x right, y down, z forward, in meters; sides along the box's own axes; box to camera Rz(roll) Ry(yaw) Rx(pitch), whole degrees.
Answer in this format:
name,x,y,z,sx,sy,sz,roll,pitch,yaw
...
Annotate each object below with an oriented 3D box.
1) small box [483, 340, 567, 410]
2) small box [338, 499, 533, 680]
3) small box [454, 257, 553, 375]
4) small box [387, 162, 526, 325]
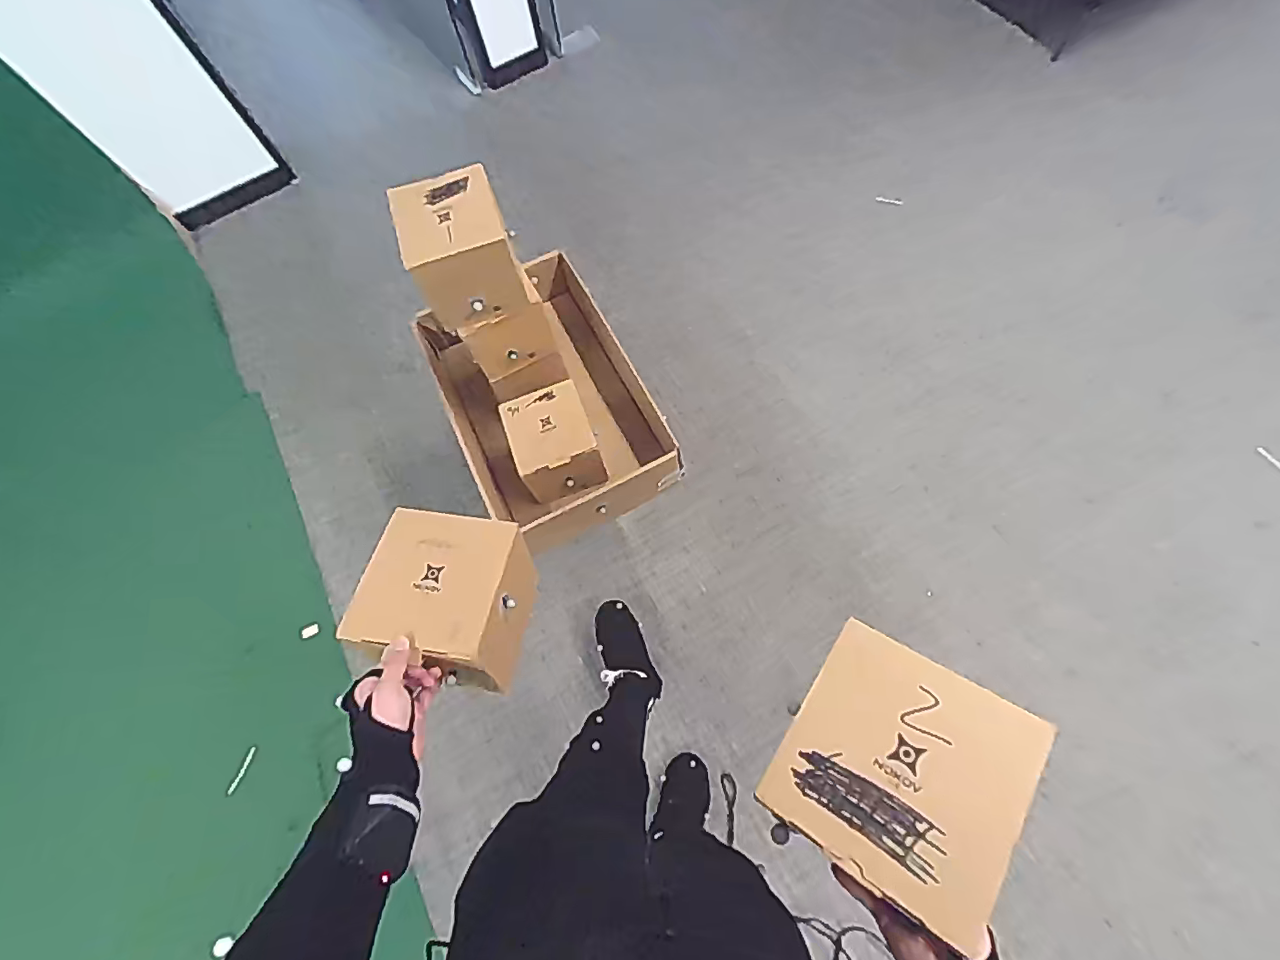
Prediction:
name,x,y,z,sx,sy,sz,roll,pitch,yaw
small box,-0.287,-0.294,1.251,0.168,0.176,0.179,-27,71,-6
small box,-0.251,0.151,0.719,0.168,0.176,0.179,8,55,5
small box,-0.297,-0.348,1.098,0.168,0.176,0.179,-28,71,-7
small box,-0.313,-0.405,0.945,0.168,0.176,0.179,-19,71,-3
